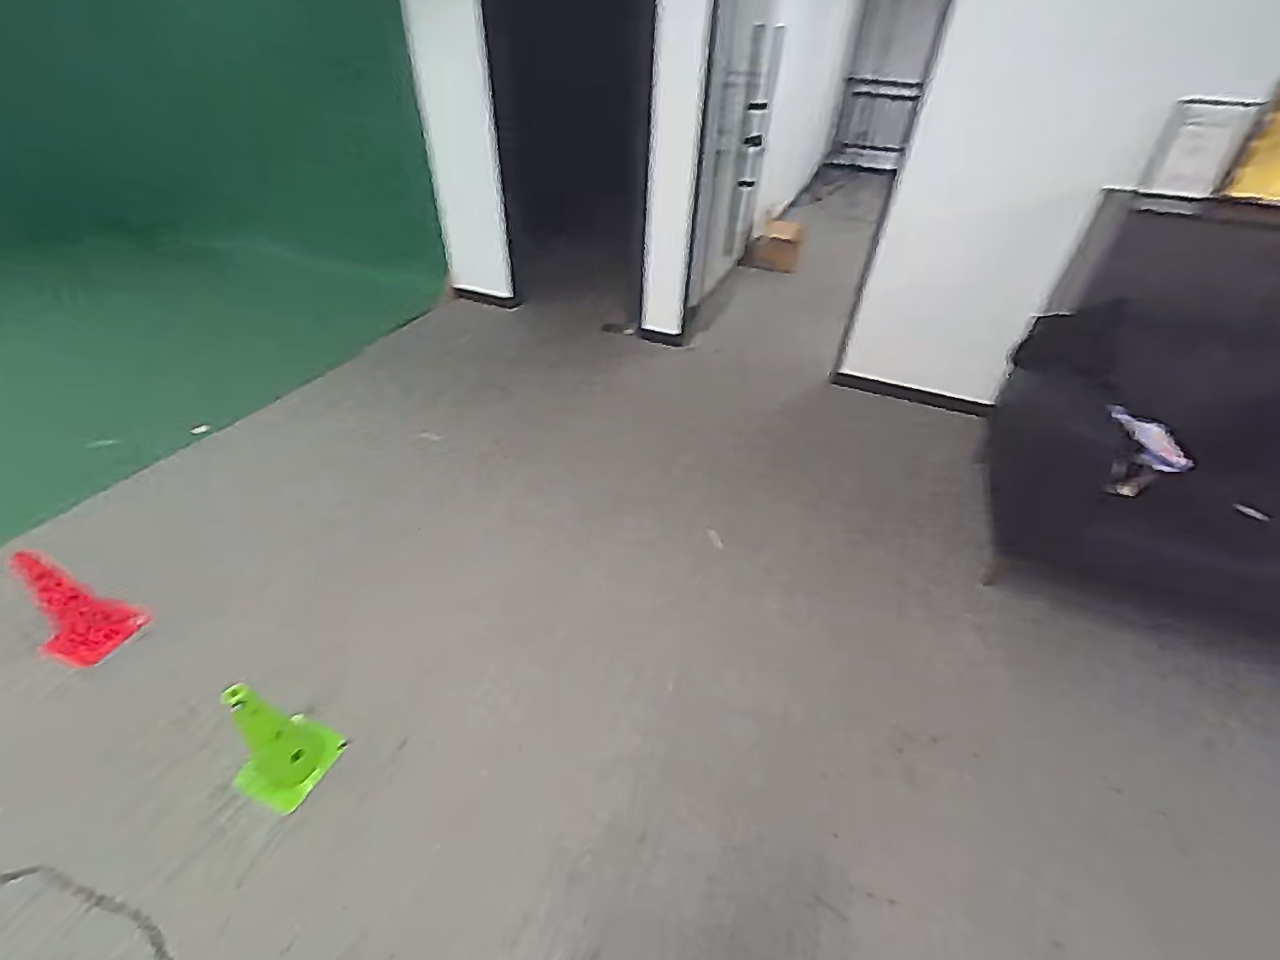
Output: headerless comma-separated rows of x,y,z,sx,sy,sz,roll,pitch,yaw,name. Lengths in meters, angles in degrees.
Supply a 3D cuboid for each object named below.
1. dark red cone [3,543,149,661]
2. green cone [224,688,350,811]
-1.658,0.327,1.553,0.201,0.394,0.202,12,41,13,dark red cone
-0.897,0.604,1.305,0.200,0.368,0.202,16,43,16,green cone
